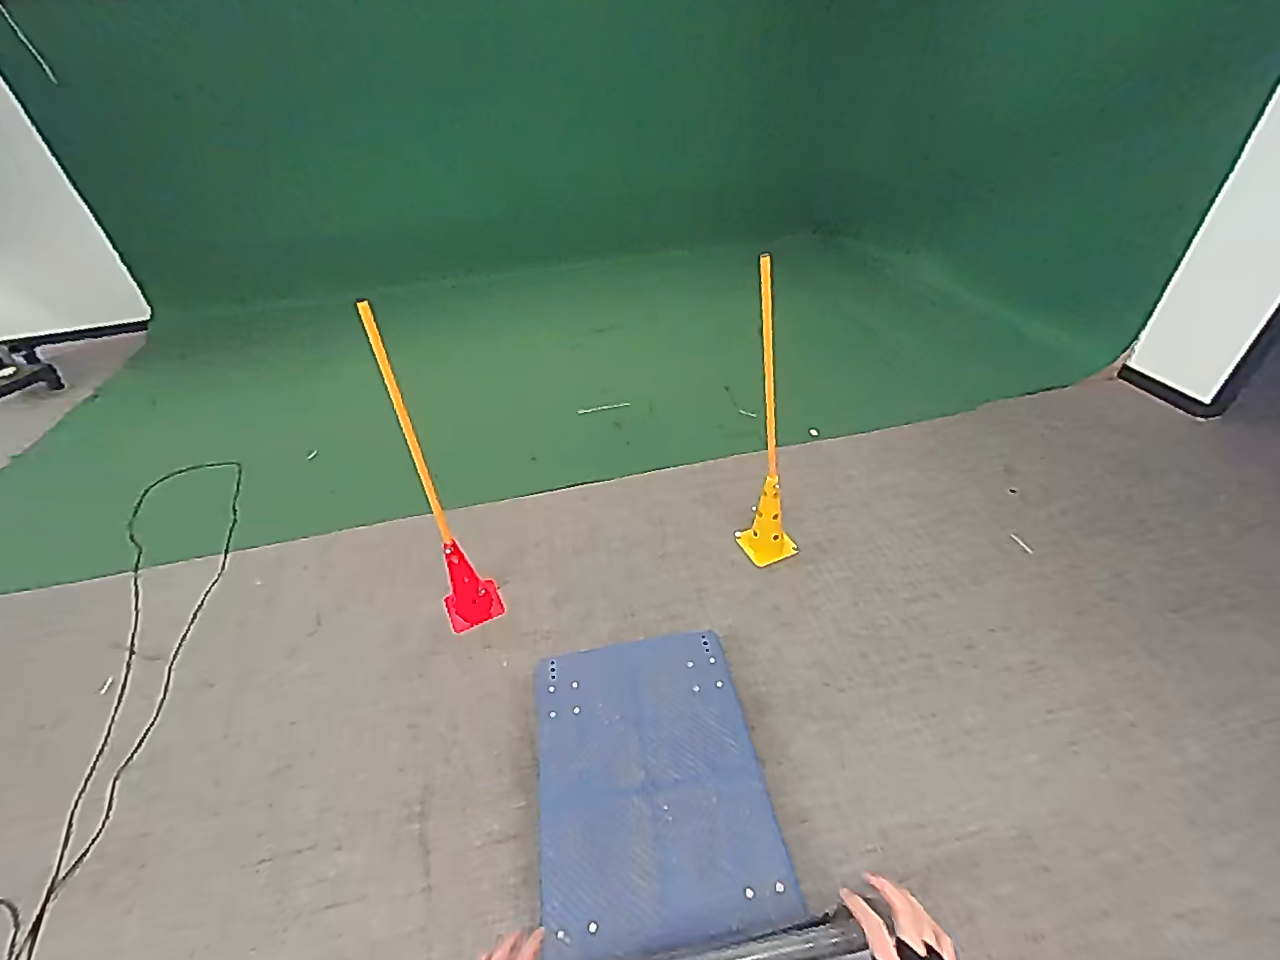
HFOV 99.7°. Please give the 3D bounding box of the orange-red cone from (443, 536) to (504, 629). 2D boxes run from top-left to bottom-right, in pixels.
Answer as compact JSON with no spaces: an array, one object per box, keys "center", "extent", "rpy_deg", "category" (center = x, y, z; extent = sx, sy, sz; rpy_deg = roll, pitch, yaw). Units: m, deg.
[{"center":[-0.648,0.342,1.966],"extent":[0.199,0.360,0.198],"rpy_deg":[-22,42,-17],"category":"orange-red cone"}]
